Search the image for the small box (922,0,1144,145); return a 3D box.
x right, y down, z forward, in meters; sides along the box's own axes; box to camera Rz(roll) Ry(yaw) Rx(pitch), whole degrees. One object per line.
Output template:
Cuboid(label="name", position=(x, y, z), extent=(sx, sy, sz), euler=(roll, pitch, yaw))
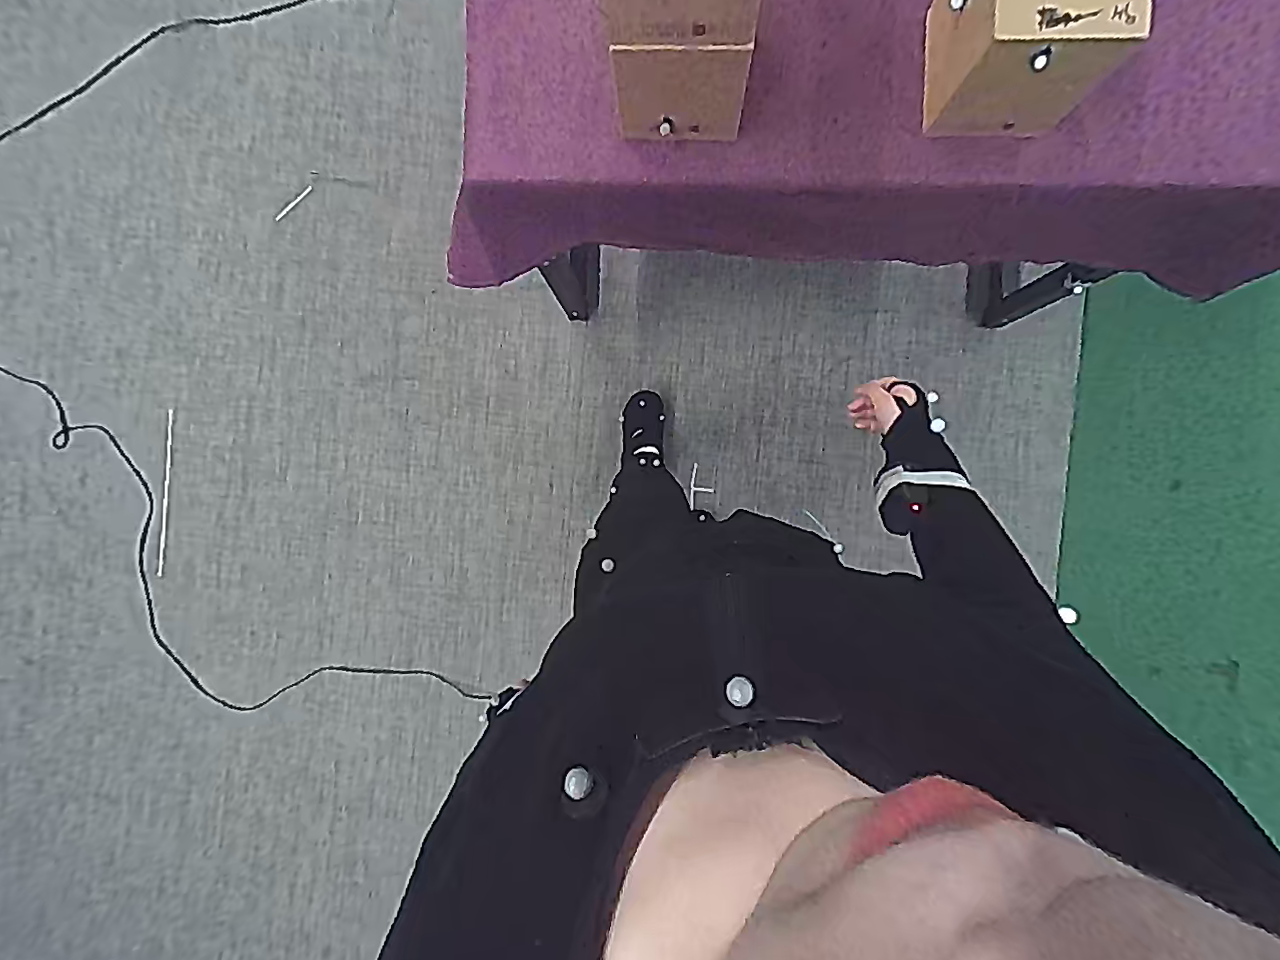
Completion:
Cuboid(label="small box", position=(0.472, -0.558, 0.674), extent=(0.168, 0.176, 0.179), euler=(2, 89, 4))

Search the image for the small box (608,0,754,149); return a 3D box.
Cuboid(label="small box", position=(0.052, -0.566, 0.697), extent=(0.168, 0.176, 0.179), euler=(3, 90, 3))
